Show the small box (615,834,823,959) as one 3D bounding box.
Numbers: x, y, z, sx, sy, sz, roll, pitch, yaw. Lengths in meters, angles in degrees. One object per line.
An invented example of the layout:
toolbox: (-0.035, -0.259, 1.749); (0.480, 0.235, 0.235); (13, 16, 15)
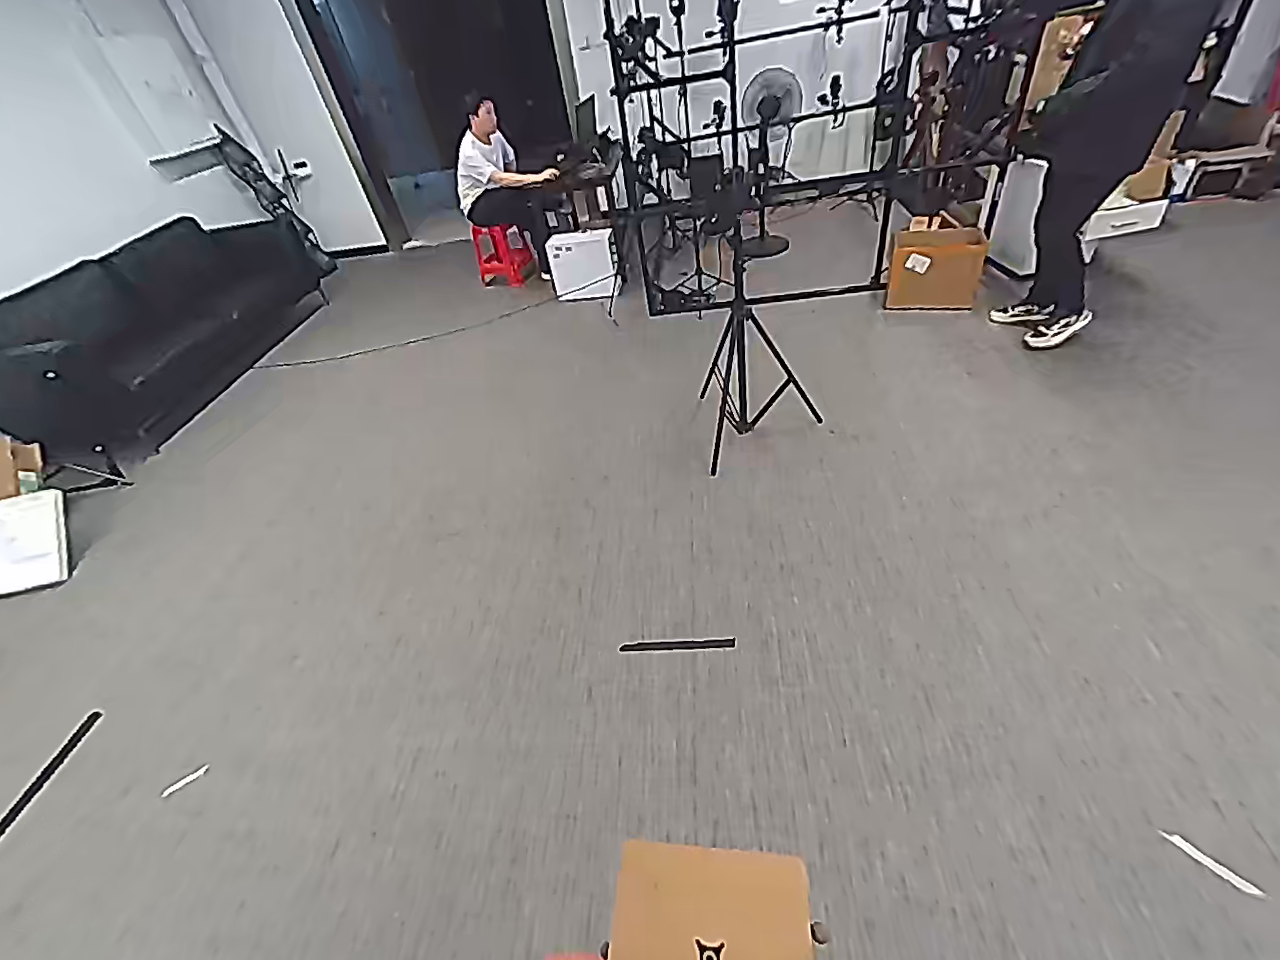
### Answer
small box: (0.070, 0.443, 0.473); (0.168, 0.176, 0.179); (-2, 40, 10)
